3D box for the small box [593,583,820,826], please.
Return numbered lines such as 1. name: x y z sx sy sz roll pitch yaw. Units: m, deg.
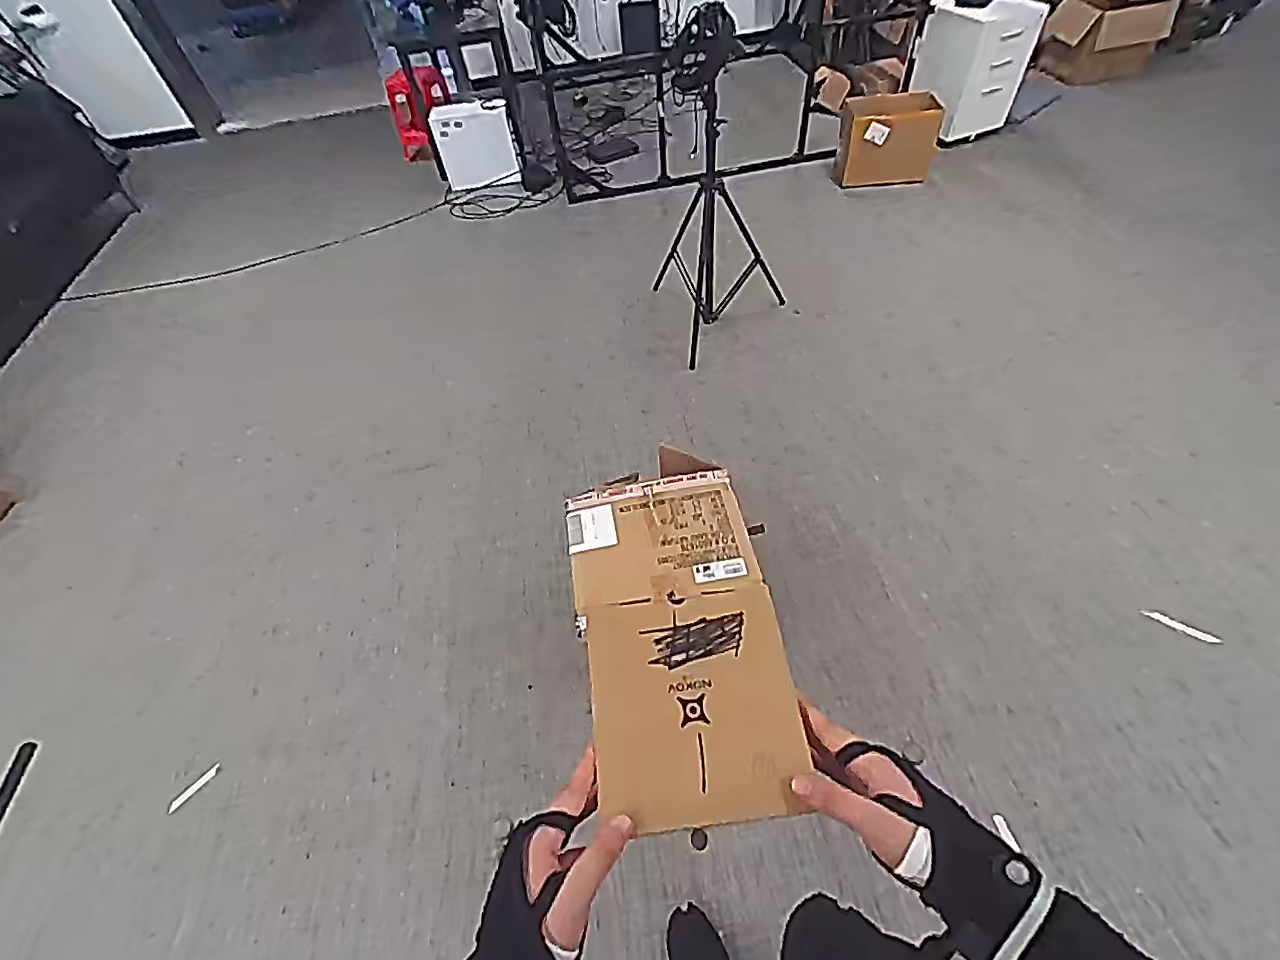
1. small box: 0.047 0.216 0.511 0.168 0.176 0.179 -7 58 -1
